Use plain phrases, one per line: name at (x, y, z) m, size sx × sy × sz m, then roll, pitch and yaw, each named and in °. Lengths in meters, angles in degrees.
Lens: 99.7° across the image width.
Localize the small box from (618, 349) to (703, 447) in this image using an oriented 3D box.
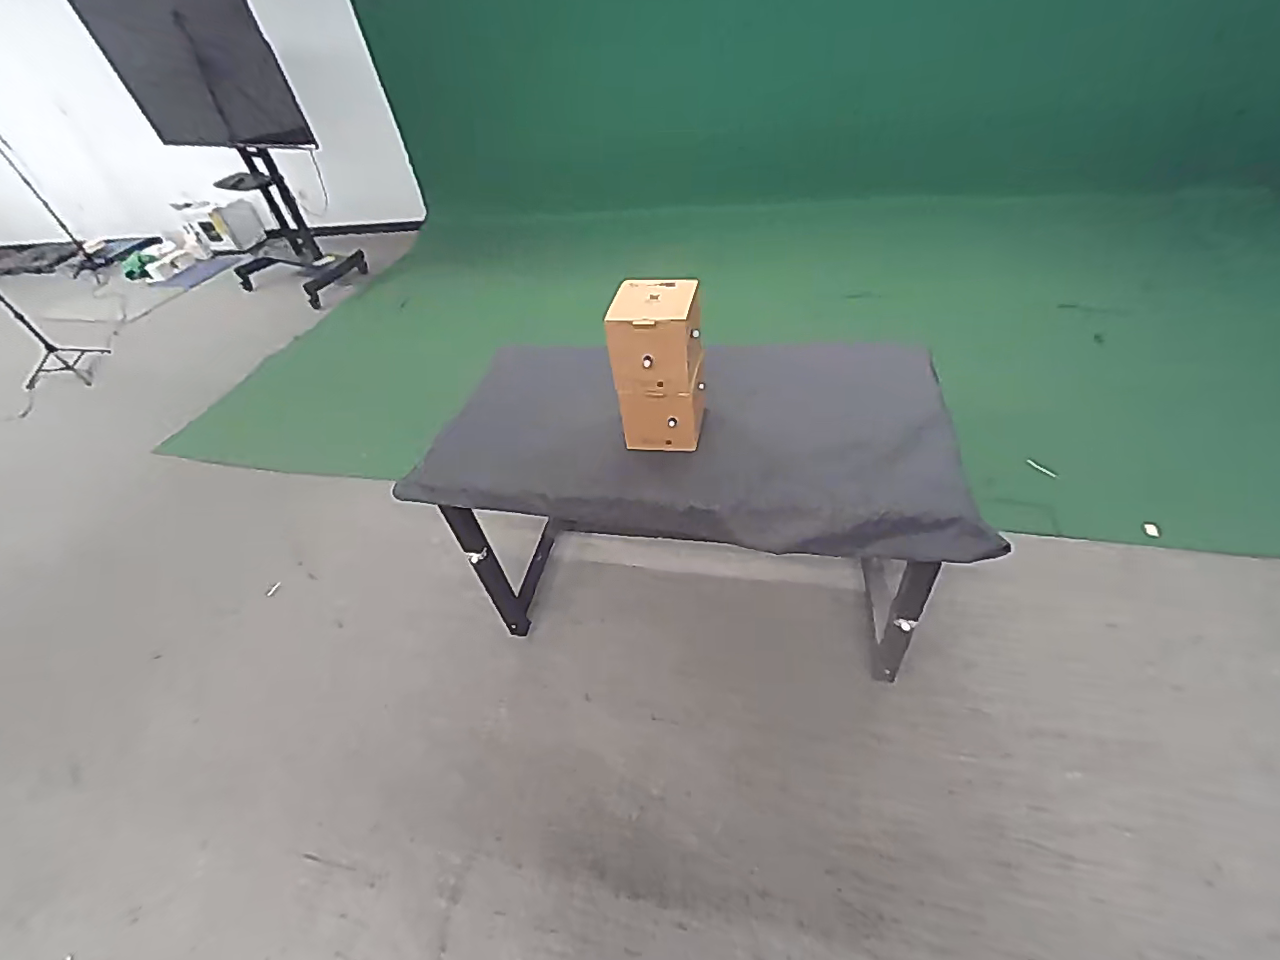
small box at (0.057, -0.192, 1.266) m, size 0.168 × 0.176 × 0.179 m, roll 3°, pitch 45°, yaw 12°

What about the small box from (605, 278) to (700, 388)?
small box at (0.035, -0.311, 1.155) m, size 0.168 × 0.176 × 0.179 m, roll 5°, pitch 47°, yaw 13°
